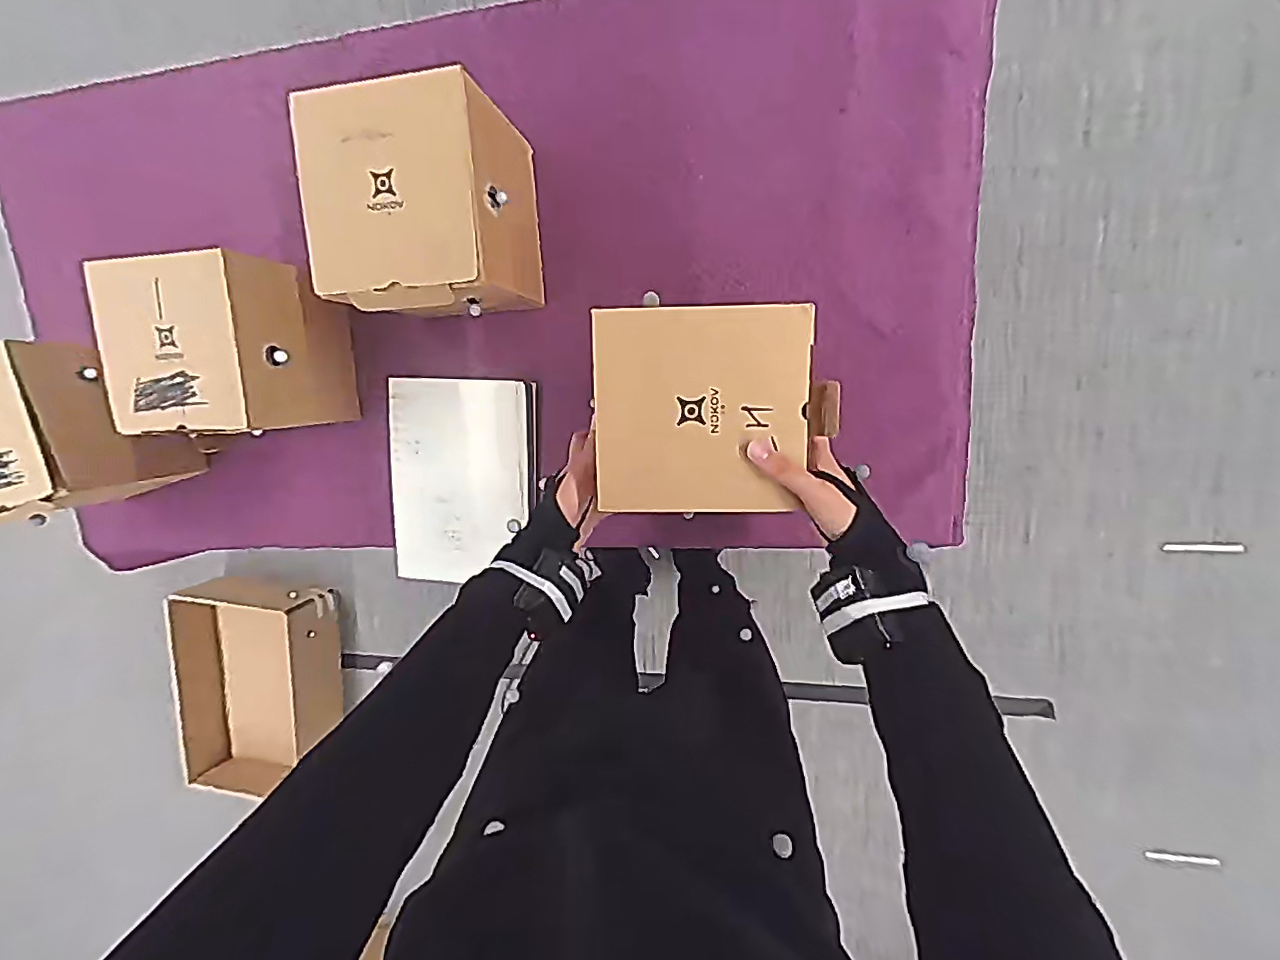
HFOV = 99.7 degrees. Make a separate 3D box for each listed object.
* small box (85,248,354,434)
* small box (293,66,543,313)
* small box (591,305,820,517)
[{"bbox_3d":[-0.454,-0.148,0.613,0.168,0.176,0.179,0,99,10],"label":"small box"},{"bbox_3d":[-0.205,-0.268,0.548,0.168,0.176,0.179,0,100,10],"label":"small box"},{"bbox_3d":[0.053,-0.065,0.502,0.179,0.176,0.168,0,100,3],"label":"small box"}]
